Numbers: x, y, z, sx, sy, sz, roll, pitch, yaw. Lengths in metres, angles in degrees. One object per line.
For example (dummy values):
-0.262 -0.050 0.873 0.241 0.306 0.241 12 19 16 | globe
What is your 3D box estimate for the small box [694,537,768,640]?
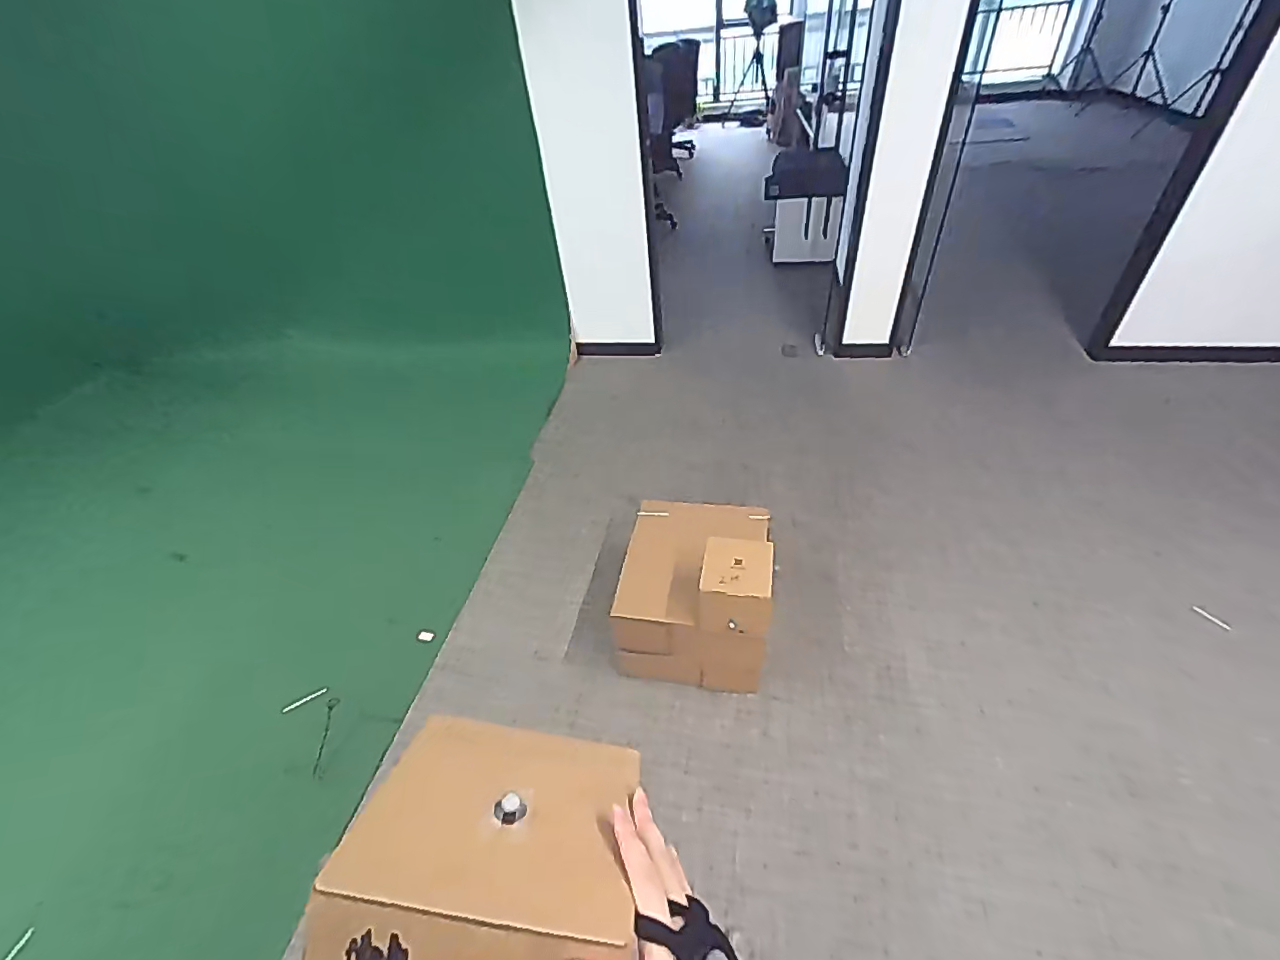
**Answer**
0.227 0.271 1.353 0.168 0.176 0.179 5 42 12 | small box
